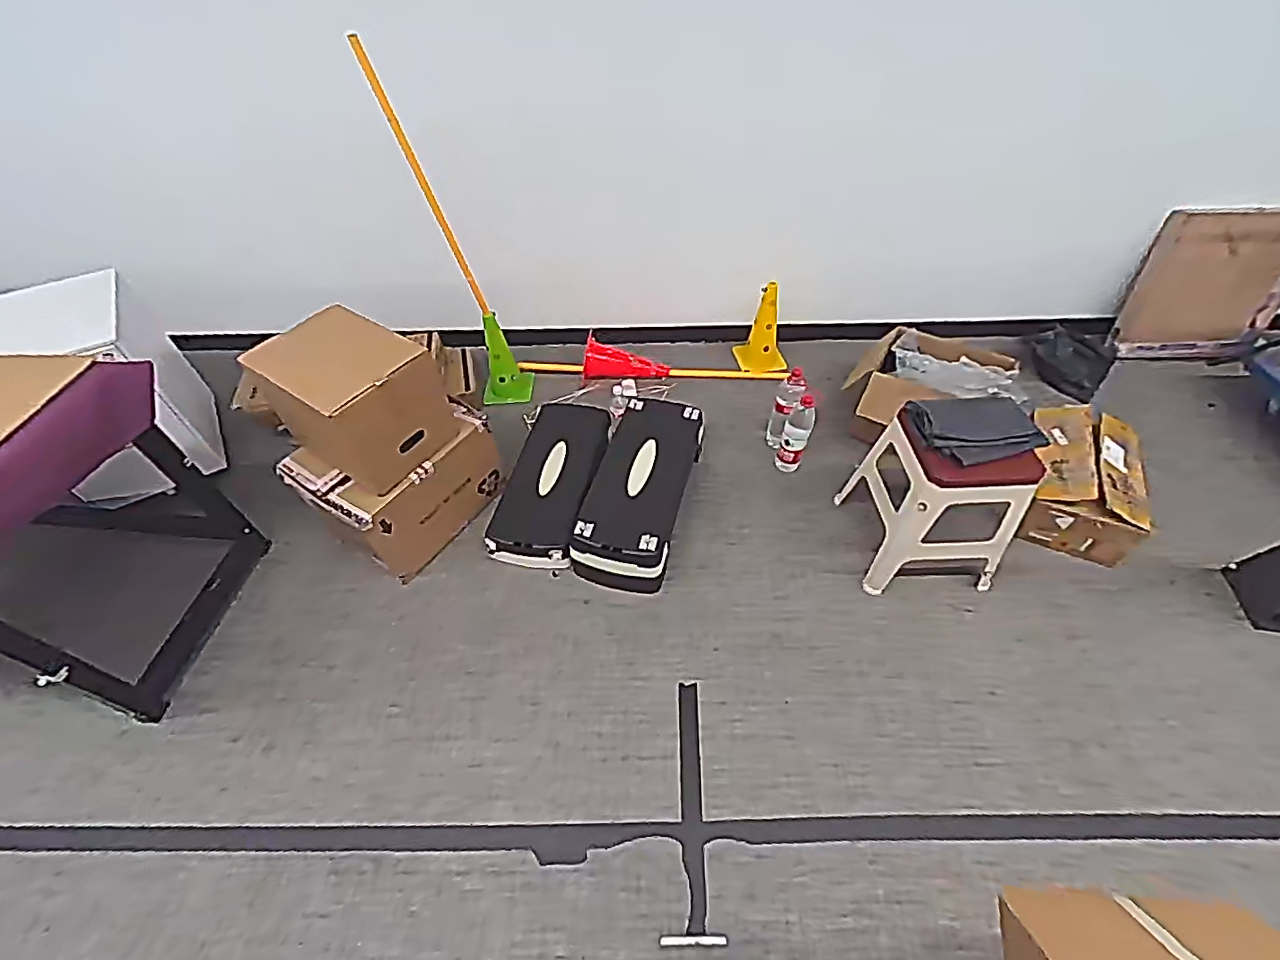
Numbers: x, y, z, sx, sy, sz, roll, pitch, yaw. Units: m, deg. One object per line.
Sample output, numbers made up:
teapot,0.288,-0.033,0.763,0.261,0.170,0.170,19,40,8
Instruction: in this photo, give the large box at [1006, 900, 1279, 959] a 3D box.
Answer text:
large box,0.640,0.728,0.542,0.320,0.408,0.320,-2,82,10
